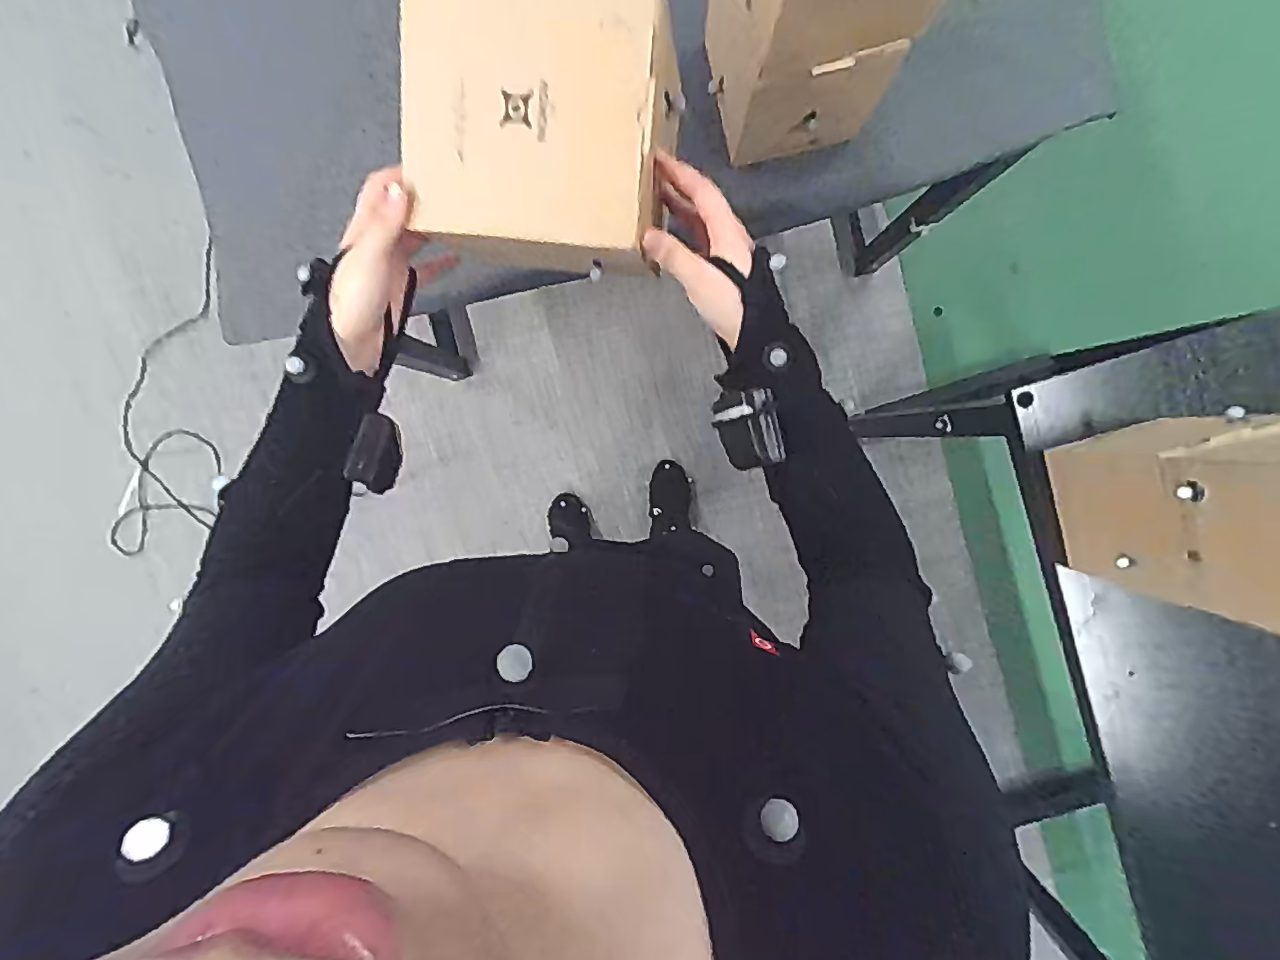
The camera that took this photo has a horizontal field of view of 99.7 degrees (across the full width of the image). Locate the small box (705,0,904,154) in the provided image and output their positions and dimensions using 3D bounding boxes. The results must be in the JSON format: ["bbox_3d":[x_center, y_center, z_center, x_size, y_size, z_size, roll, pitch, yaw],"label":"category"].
[{"bbox_3d":[0.176,-0.513,0.628,0.168,0.176,0.179,-13,93,3],"label":"small box"}]

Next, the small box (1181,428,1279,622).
[{"bbox_3d":[0.650,0.039,0.489,0.179,0.176,0.168,-14,95,2],"label":"small box"}]

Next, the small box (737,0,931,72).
[{"bbox_3d":[0.179,-0.507,0.465,0.179,0.176,0.168,-15,92,4],"label":"small box"}]
